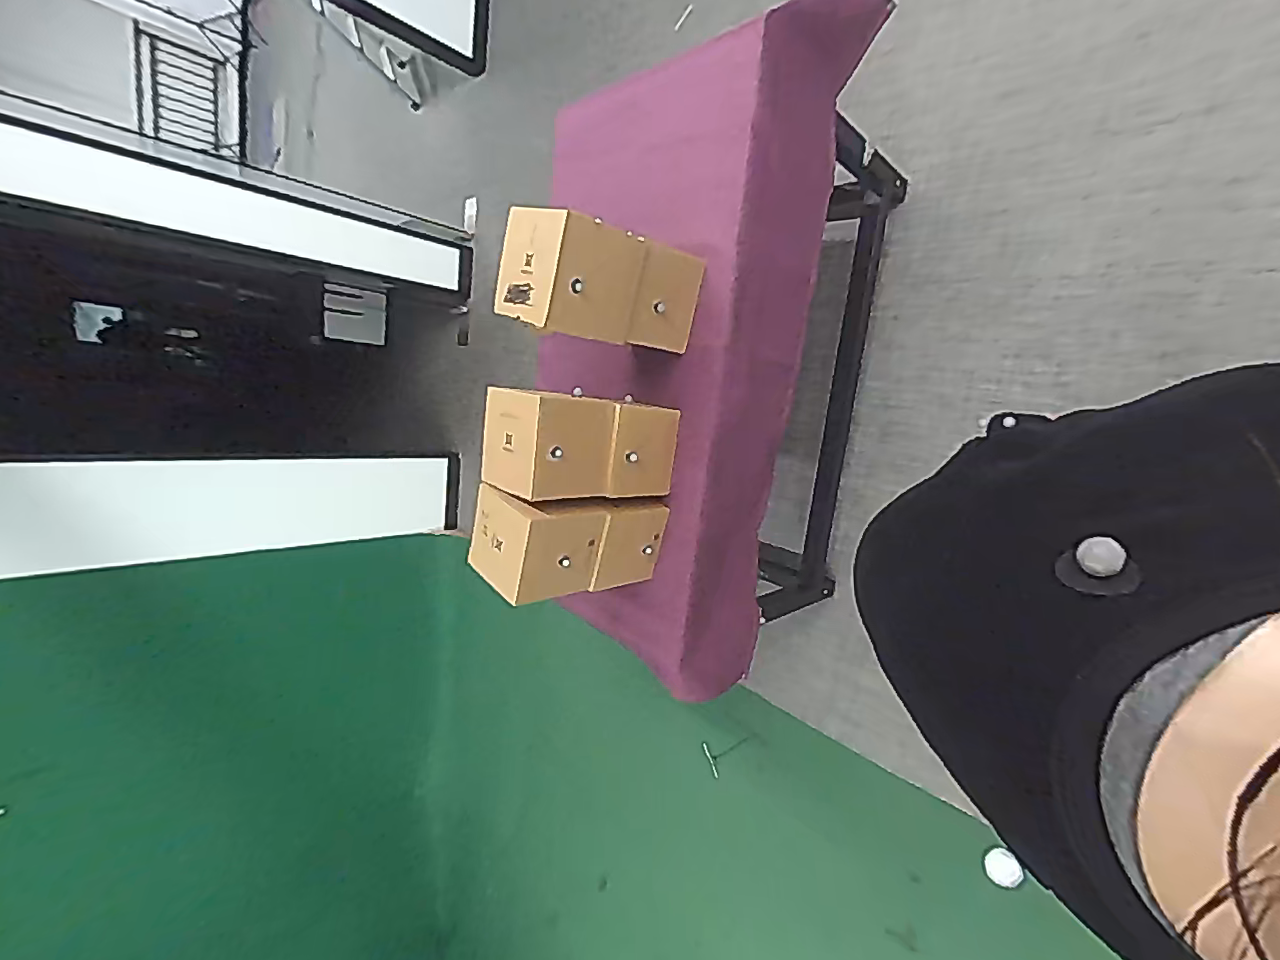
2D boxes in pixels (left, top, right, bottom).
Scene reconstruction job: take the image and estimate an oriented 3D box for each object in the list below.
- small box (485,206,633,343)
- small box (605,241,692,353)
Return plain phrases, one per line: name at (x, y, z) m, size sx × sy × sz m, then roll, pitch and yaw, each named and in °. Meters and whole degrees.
small box at (-0.135, -0.339, 0.909) m, size 0.168 × 0.176 × 0.179 m, roll 28°, pitch 110°, yaw 40°
small box at (-0.024, -0.347, 1.031) m, size 0.168 × 0.176 × 0.179 m, roll 25°, pitch 109°, yaw 40°
